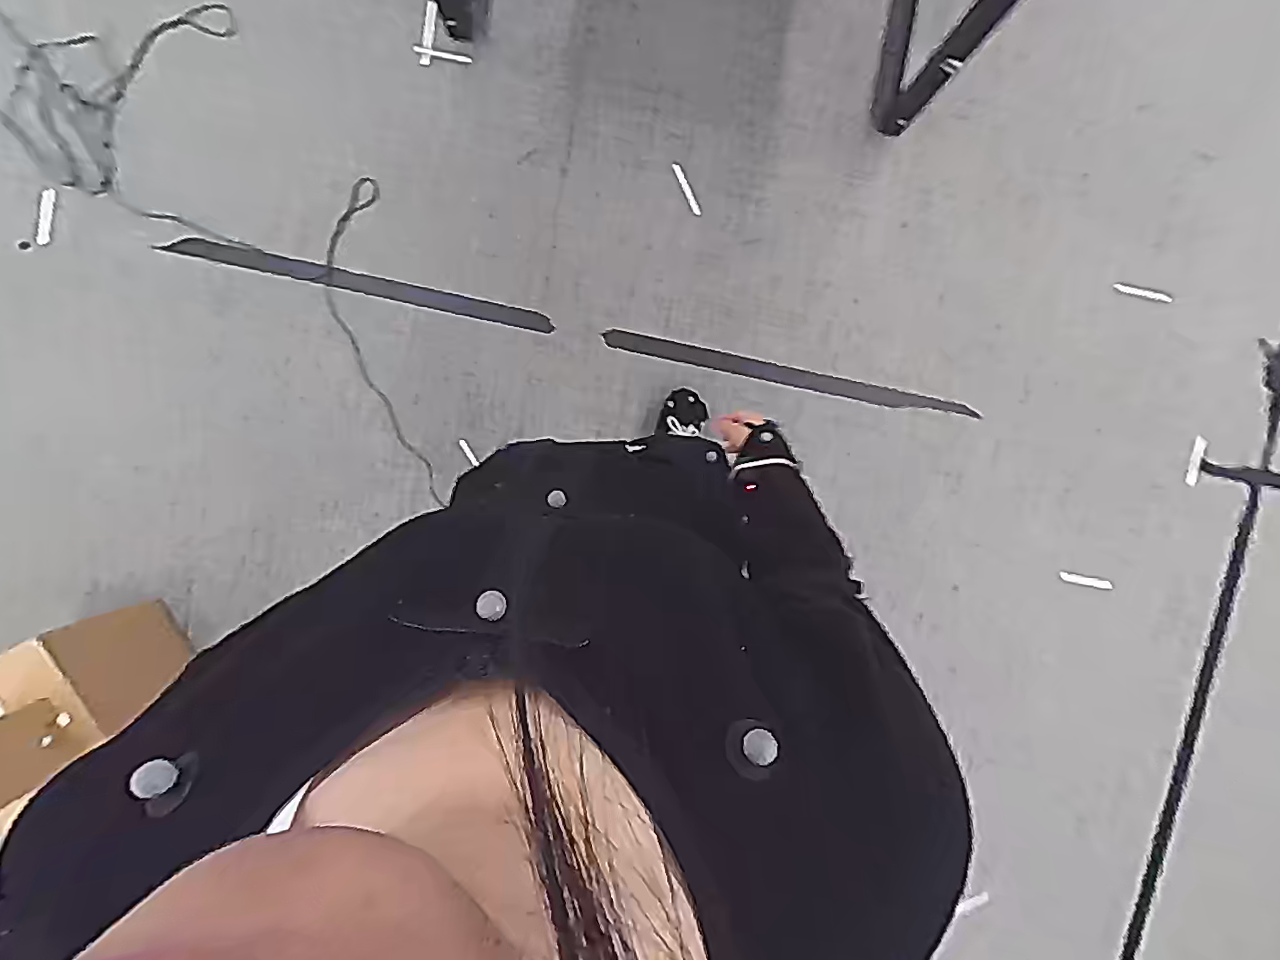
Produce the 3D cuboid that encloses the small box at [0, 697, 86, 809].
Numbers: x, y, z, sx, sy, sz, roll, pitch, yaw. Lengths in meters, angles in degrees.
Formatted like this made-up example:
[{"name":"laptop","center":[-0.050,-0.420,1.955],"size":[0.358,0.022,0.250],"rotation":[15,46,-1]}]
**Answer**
[{"name":"small box","center":[-1.305,0.578,1.089],"size":[0.179,0.176,0.168],"rotation":[-30,94,0]}]
